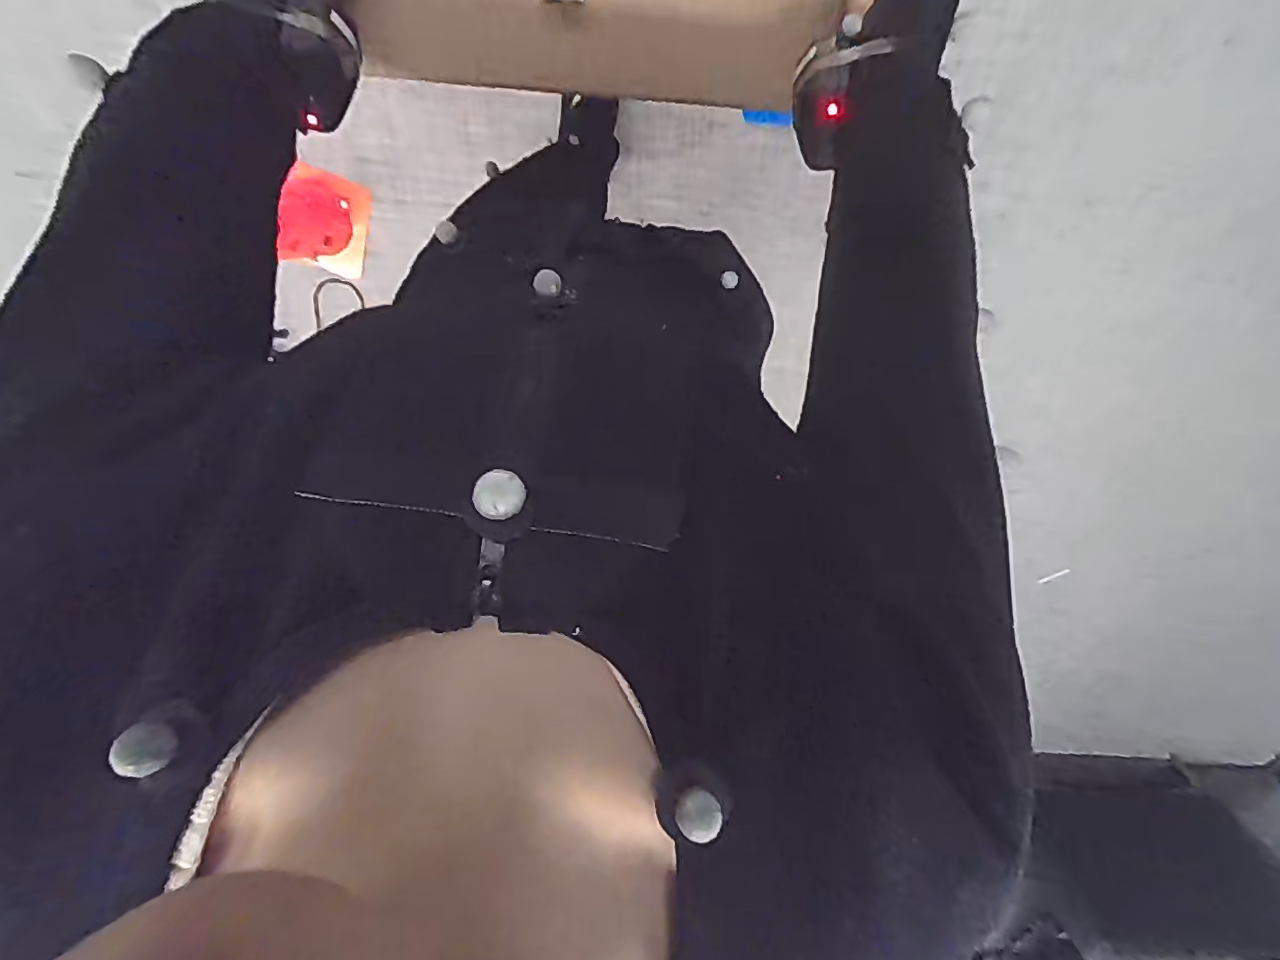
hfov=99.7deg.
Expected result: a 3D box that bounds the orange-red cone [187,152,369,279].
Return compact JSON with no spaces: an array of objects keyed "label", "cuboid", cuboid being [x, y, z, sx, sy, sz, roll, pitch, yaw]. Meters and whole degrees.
[{"label":"orange-red cone","cuboid":[-0.685,-0.456,0.988,0.199,0.360,0.198,21,120,-11]}]

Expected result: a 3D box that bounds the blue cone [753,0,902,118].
[{"label":"blue cone","cuboid":[0.307,-0.683,0.845,0.192,0.380,0.193,4,124,-2]}]
